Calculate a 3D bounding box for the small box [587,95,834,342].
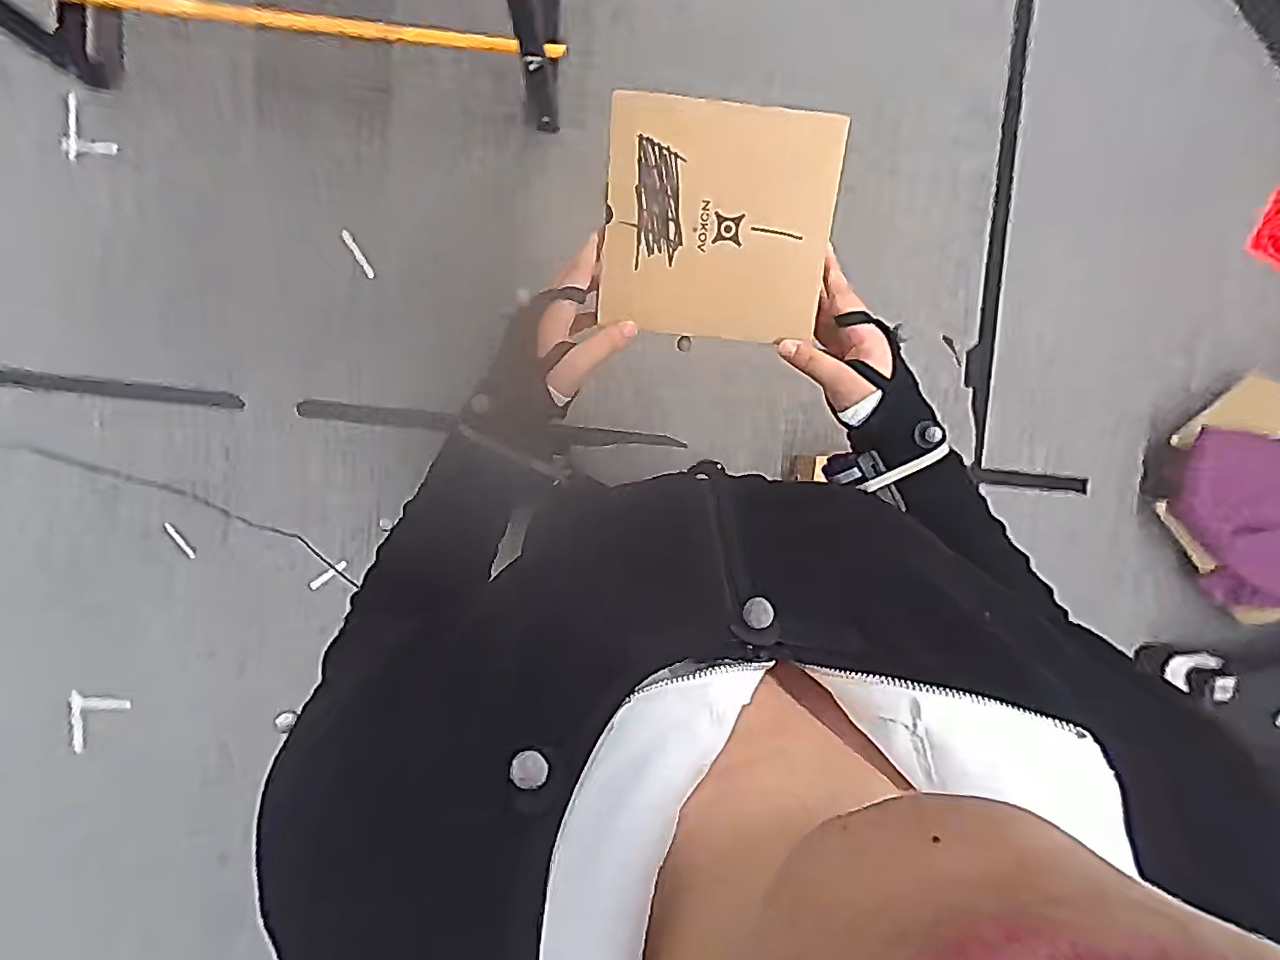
[{"bbox_3d":[0.052,-0.218,0.496,0.179,0.176,0.168,5,105,-1],"label":"small box"}]
